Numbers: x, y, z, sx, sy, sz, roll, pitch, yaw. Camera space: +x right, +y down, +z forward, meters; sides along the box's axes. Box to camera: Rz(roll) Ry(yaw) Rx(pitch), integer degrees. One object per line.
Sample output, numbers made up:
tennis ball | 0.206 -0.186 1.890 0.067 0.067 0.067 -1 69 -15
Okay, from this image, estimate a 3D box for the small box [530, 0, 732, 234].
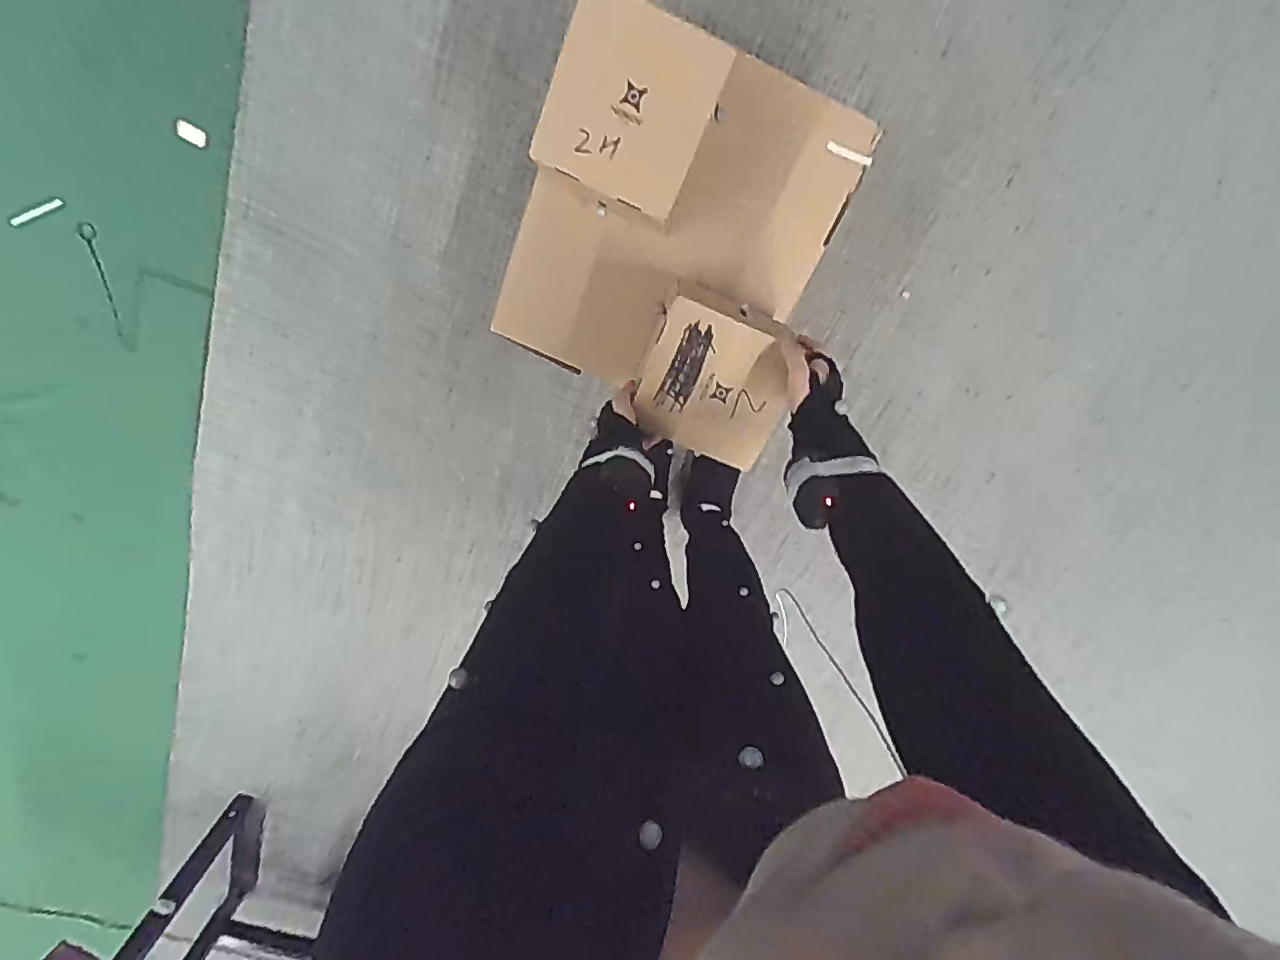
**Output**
small box | -0.013 -0.418 0.644 0.168 0.176 0.179 23 109 -7
